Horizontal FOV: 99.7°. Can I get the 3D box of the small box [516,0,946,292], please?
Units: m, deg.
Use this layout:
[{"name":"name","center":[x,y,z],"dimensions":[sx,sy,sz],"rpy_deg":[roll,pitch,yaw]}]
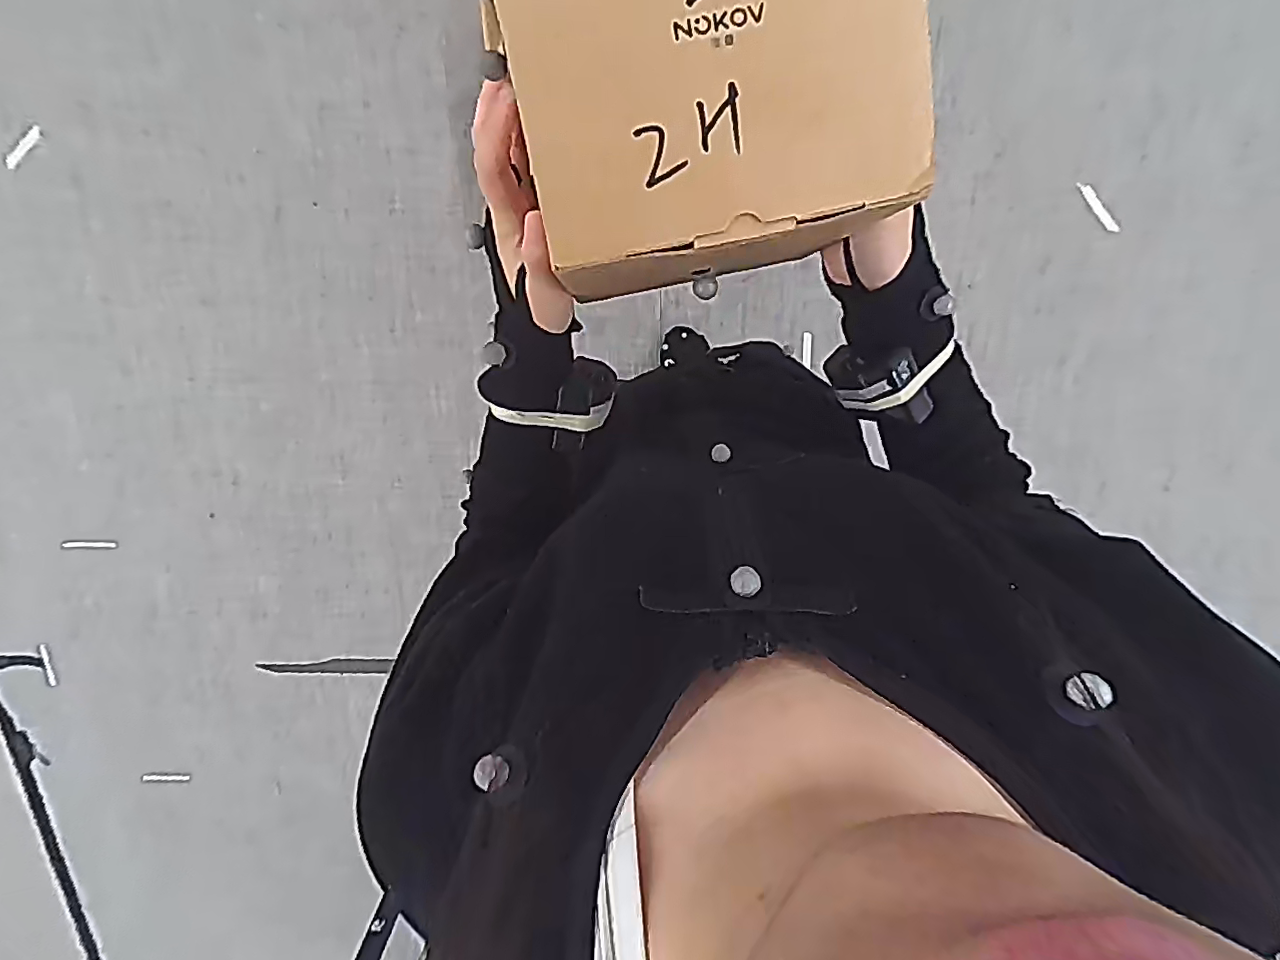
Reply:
[{"name":"small box","center":[0.028,-0.210,0.283],"dimensions":[0.168,0.176,0.179],"rpy_deg":[-11,104,0]}]
